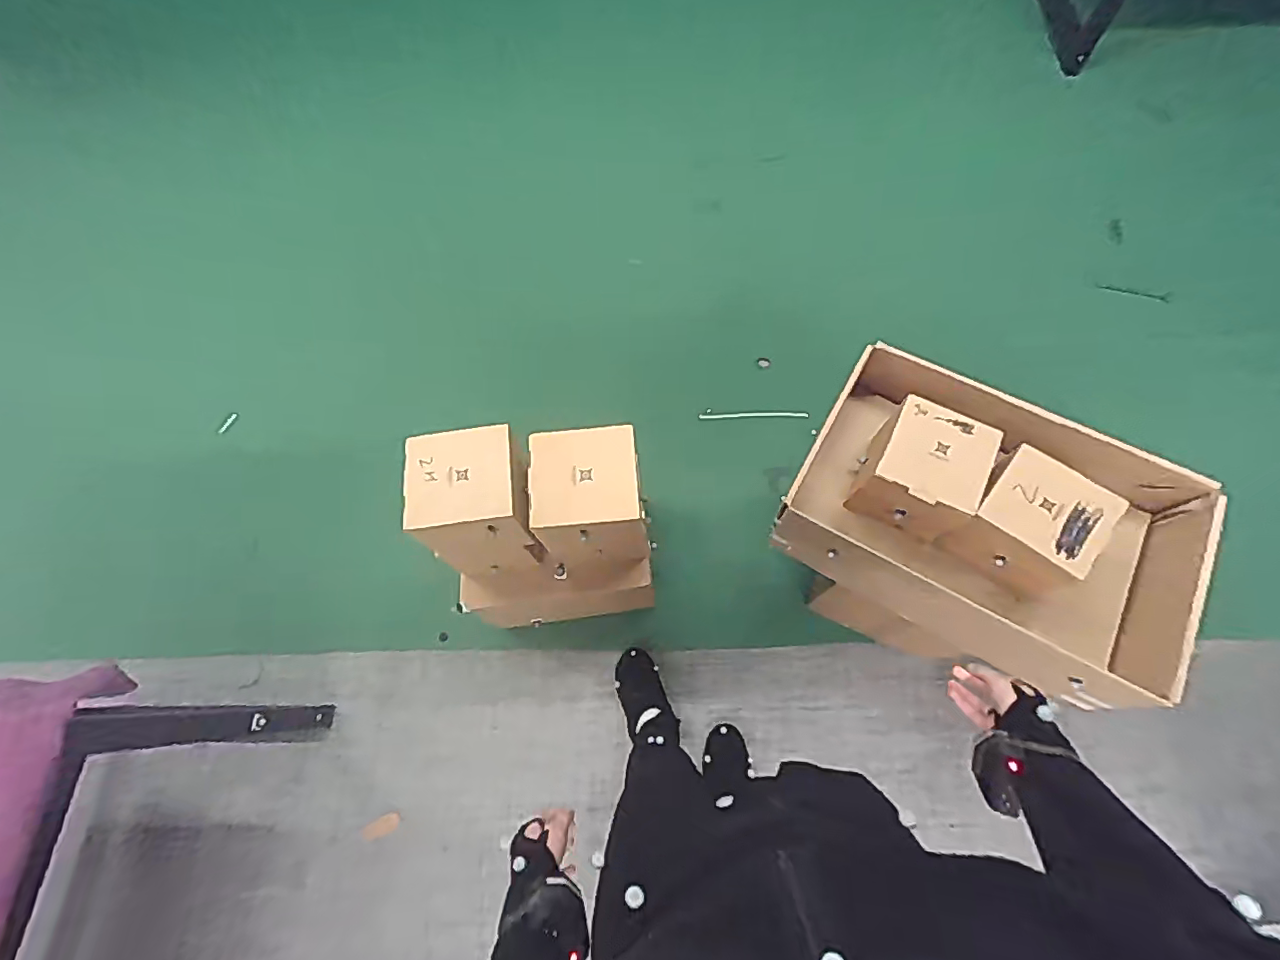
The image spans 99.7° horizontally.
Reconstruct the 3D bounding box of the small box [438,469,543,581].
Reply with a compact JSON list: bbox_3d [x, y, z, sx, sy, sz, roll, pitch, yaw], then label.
[{"bbox_3d":[-0.297,0.096,1.105,0.168,0.176,0.179,-7,67,1],"label":"small box"}]

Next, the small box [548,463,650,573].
[{"bbox_3d":[-0.079,0.083,1.097,0.179,0.176,0.168,-8,68,0],"label":"small box"}]
